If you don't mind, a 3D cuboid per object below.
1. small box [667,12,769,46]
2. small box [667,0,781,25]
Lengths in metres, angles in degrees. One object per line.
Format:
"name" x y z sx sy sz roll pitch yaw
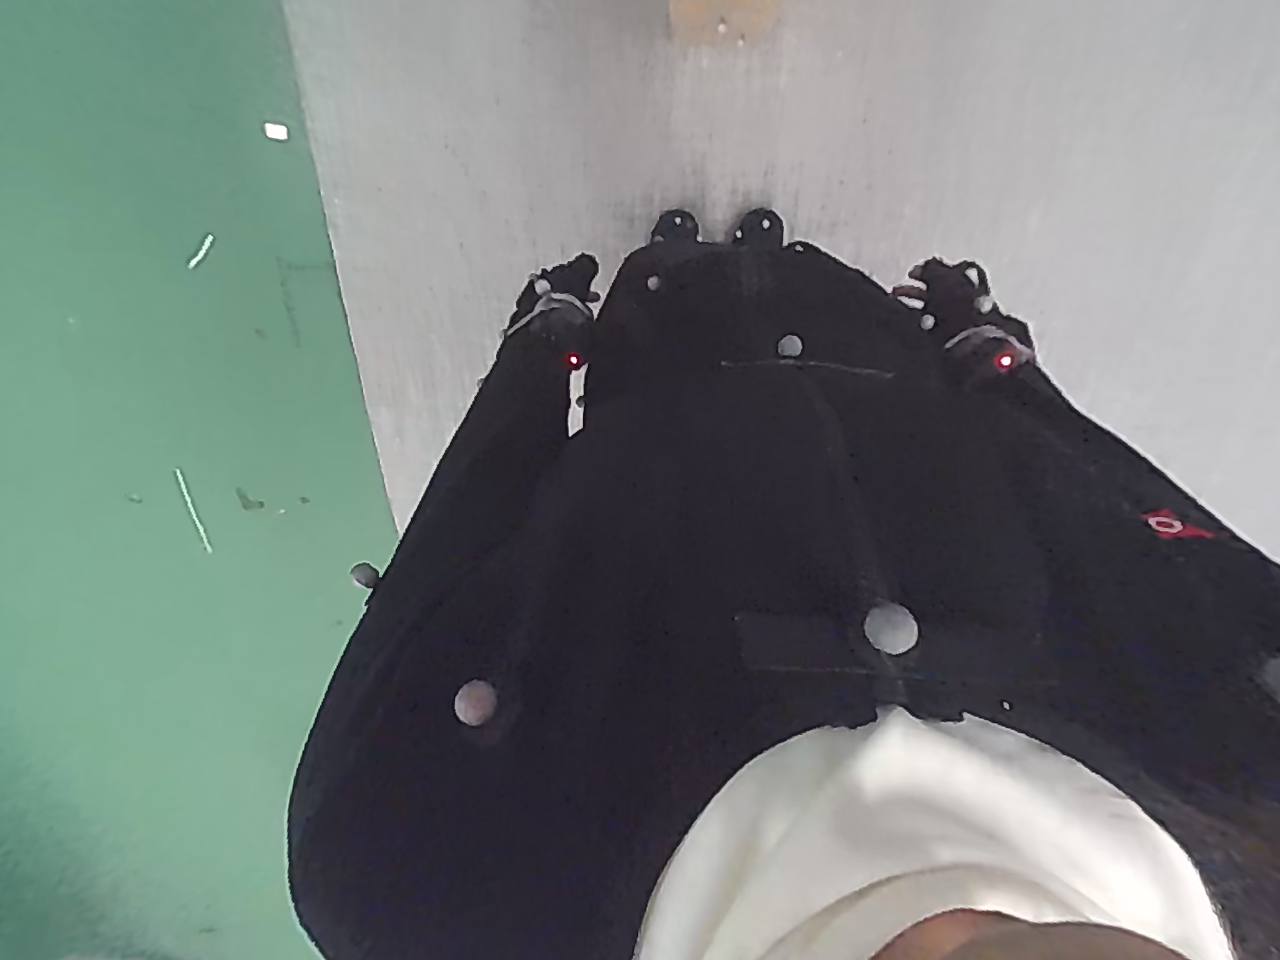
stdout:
"small box" 0.144 -0.902 0.969 0.179 0.176 0.168 4 118 5
"small box" 0.134 -0.824 0.825 0.179 0.176 0.168 5 118 2
